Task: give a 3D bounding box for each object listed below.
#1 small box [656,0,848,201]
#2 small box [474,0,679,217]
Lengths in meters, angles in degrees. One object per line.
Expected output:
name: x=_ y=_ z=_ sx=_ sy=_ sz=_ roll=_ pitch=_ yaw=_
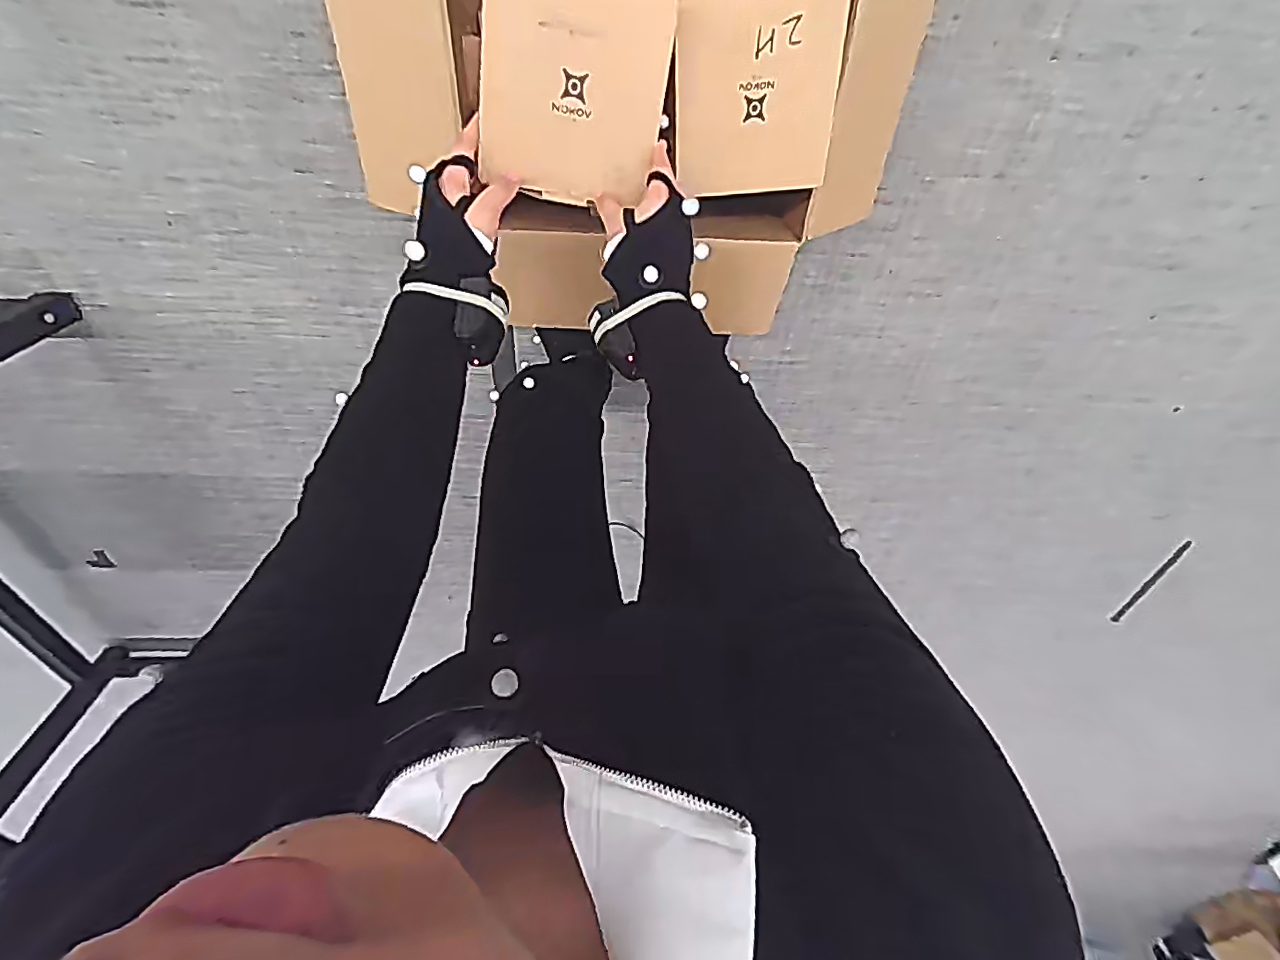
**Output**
small box: x=0.107 y=-0.432 z=0.604 sx=0.168 sy=0.176 sz=0.179 roll=-5 pitch=130 yaw=-2
small box: x=-0.071 y=-0.384 z=0.550 sx=0.168 sy=0.176 sz=0.179 roll=5 pitch=119 yaw=-12
